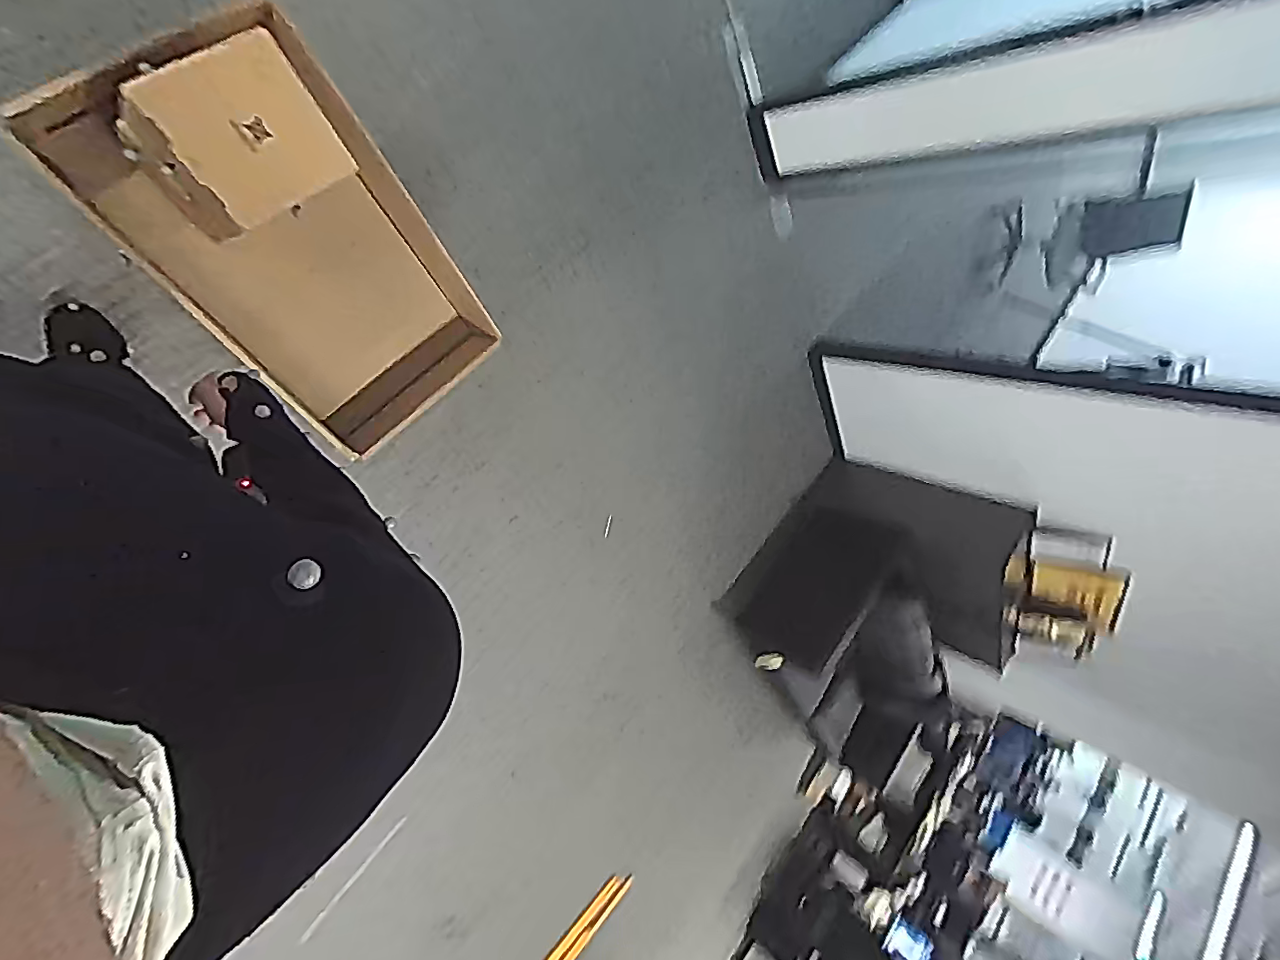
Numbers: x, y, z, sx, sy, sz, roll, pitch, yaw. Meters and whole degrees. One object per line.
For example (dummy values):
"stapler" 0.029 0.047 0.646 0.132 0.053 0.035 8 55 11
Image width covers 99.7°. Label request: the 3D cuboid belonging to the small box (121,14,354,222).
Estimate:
"small box" -0.526 -0.461 0.709 0.179 0.176 0.168 -46 132 -21
